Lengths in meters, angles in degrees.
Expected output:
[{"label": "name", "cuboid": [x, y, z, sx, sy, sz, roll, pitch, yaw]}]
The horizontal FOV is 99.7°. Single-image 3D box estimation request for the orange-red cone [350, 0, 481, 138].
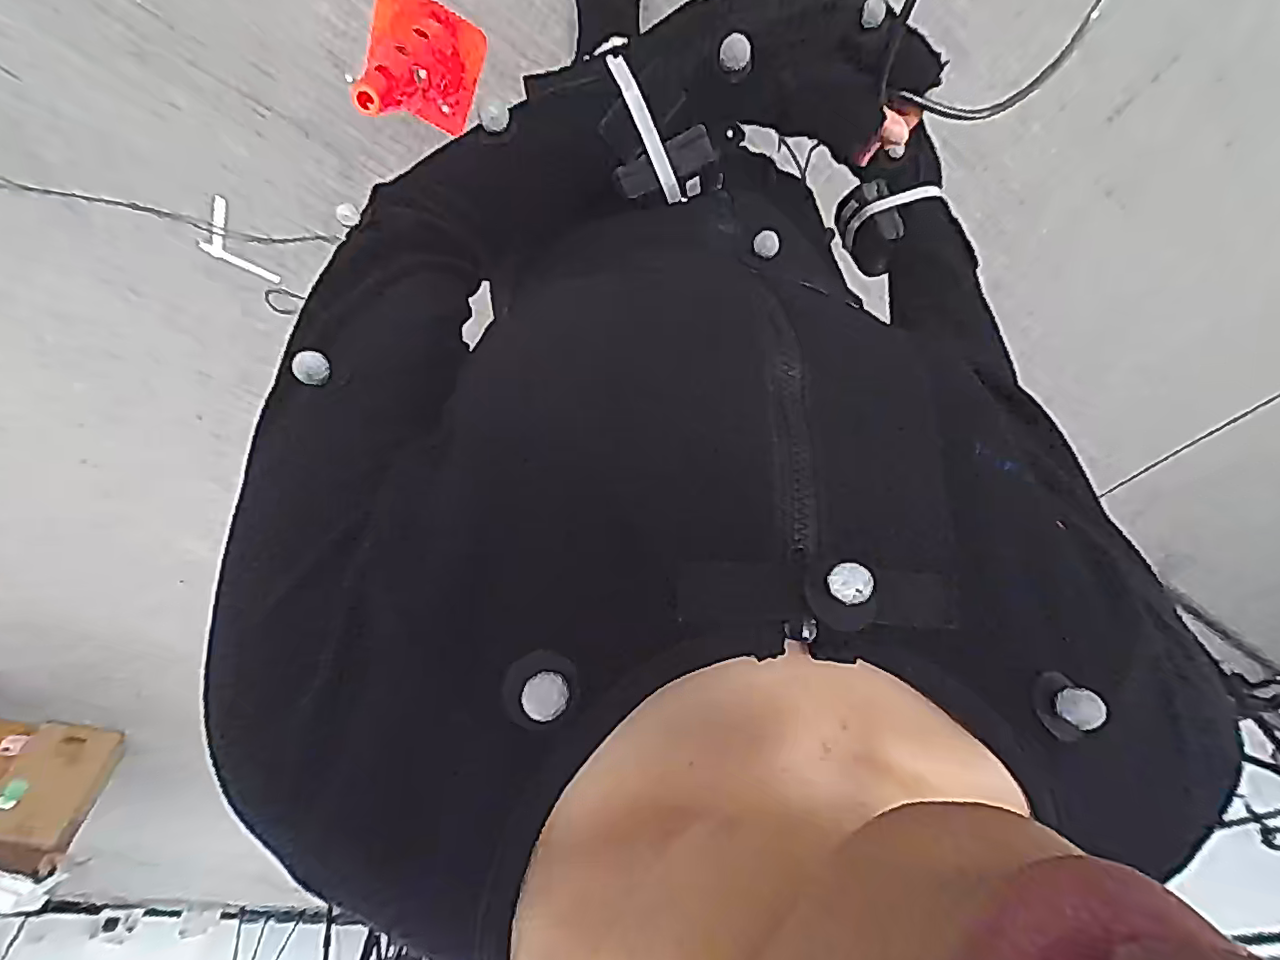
[{"label": "orange-red cone", "cuboid": [-0.422, -0.685, 0.927, 0.198, 0.360, 0.199, 21, 129, -22]}]
